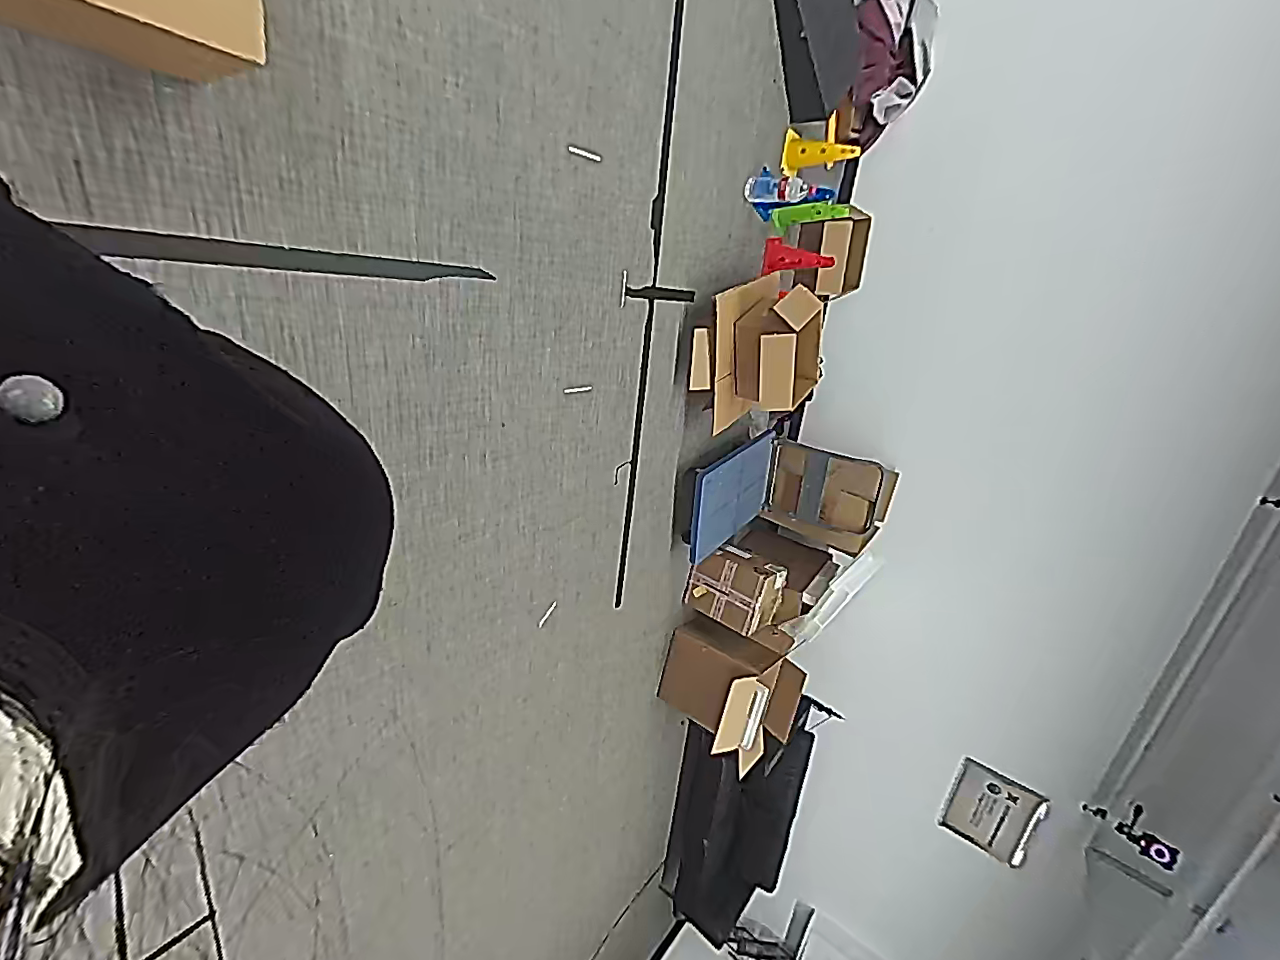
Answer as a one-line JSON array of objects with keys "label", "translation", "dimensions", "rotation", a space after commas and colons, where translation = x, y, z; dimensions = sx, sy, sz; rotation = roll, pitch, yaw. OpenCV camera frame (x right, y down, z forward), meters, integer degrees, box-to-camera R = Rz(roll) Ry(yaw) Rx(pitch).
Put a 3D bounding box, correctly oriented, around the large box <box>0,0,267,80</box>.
[{"label": "large box", "translation": [-0.827, -0.826, 0.757], "dimensions": [0.408, 0.320, 0.320], "rotation": [-17, 122, -52]}]
